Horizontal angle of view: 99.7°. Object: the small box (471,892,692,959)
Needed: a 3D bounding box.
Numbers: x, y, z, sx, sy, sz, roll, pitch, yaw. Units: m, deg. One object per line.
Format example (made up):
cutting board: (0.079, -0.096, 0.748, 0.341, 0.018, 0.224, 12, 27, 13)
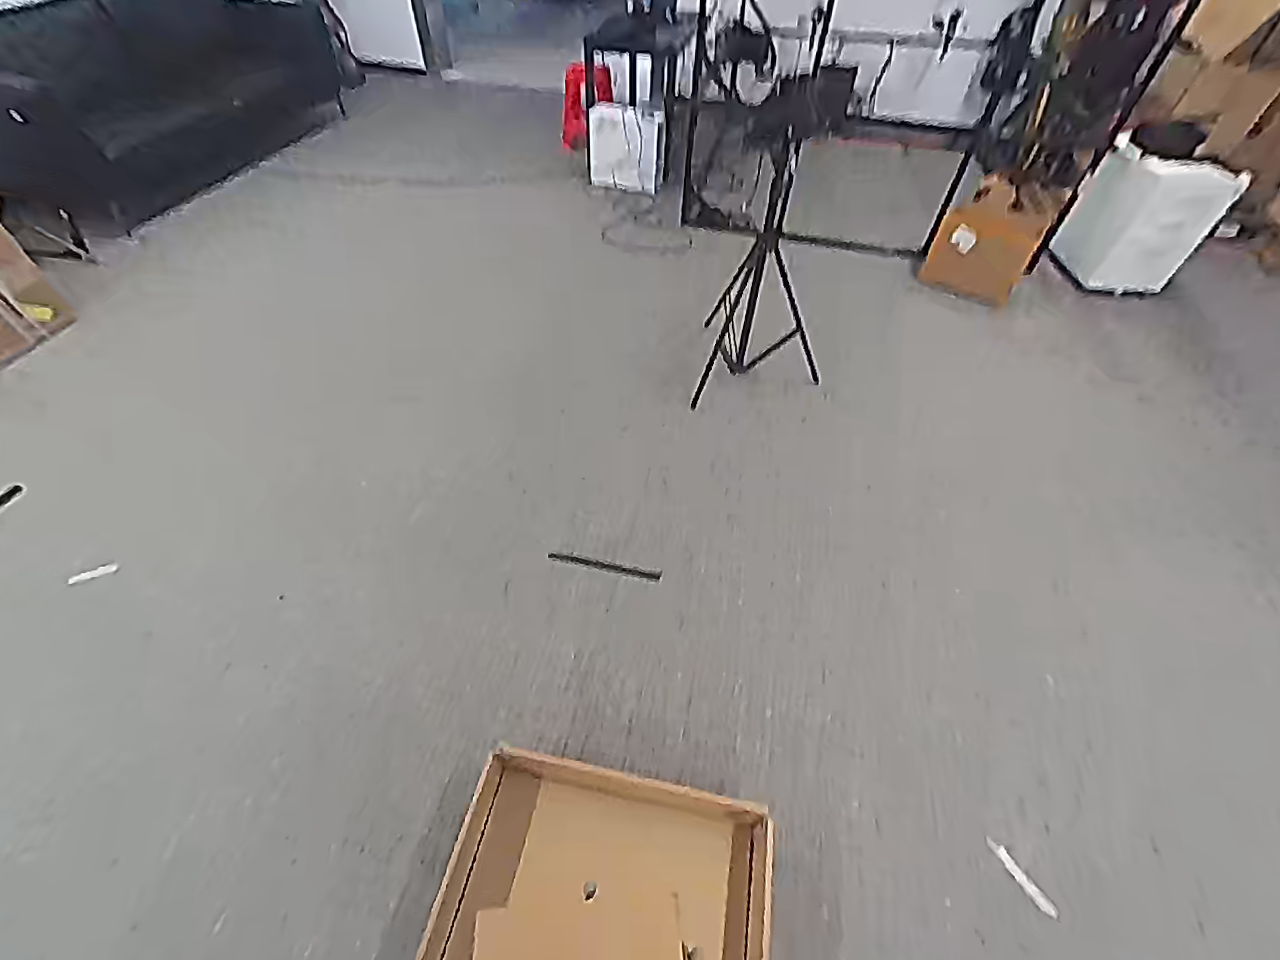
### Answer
small box: (-0.039, 0.459, 0.458, 0.179, 0.176, 0.168, -7, 50, 0)
